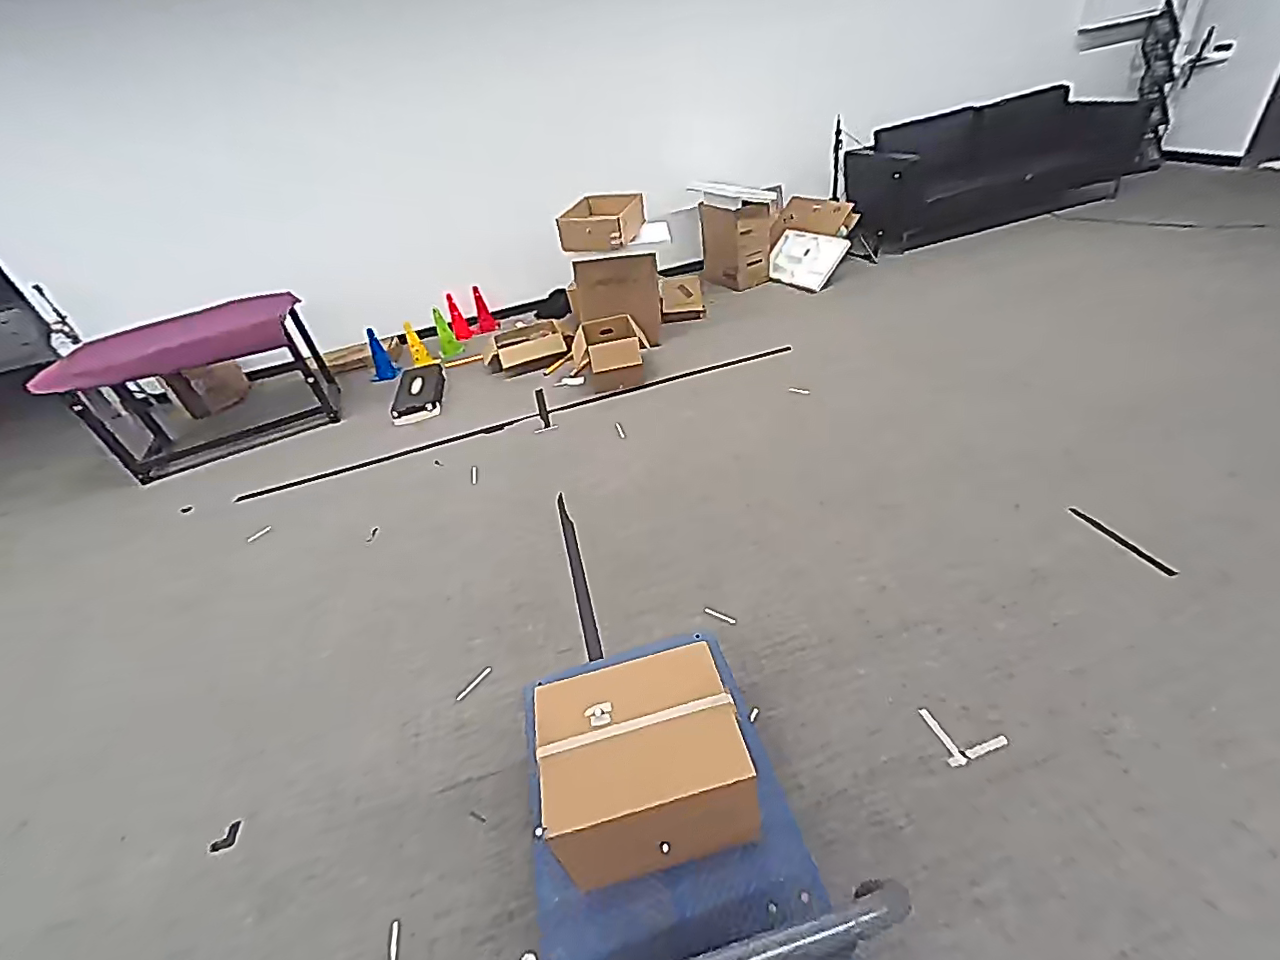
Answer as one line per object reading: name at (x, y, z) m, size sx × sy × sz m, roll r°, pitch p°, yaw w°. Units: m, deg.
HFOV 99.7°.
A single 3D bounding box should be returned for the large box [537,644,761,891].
large box at (0.019, 0.630, 1.200) m, size 0.408 × 0.320 × 0.320 m, roll -16°, pitch 36°, yaw -4°
